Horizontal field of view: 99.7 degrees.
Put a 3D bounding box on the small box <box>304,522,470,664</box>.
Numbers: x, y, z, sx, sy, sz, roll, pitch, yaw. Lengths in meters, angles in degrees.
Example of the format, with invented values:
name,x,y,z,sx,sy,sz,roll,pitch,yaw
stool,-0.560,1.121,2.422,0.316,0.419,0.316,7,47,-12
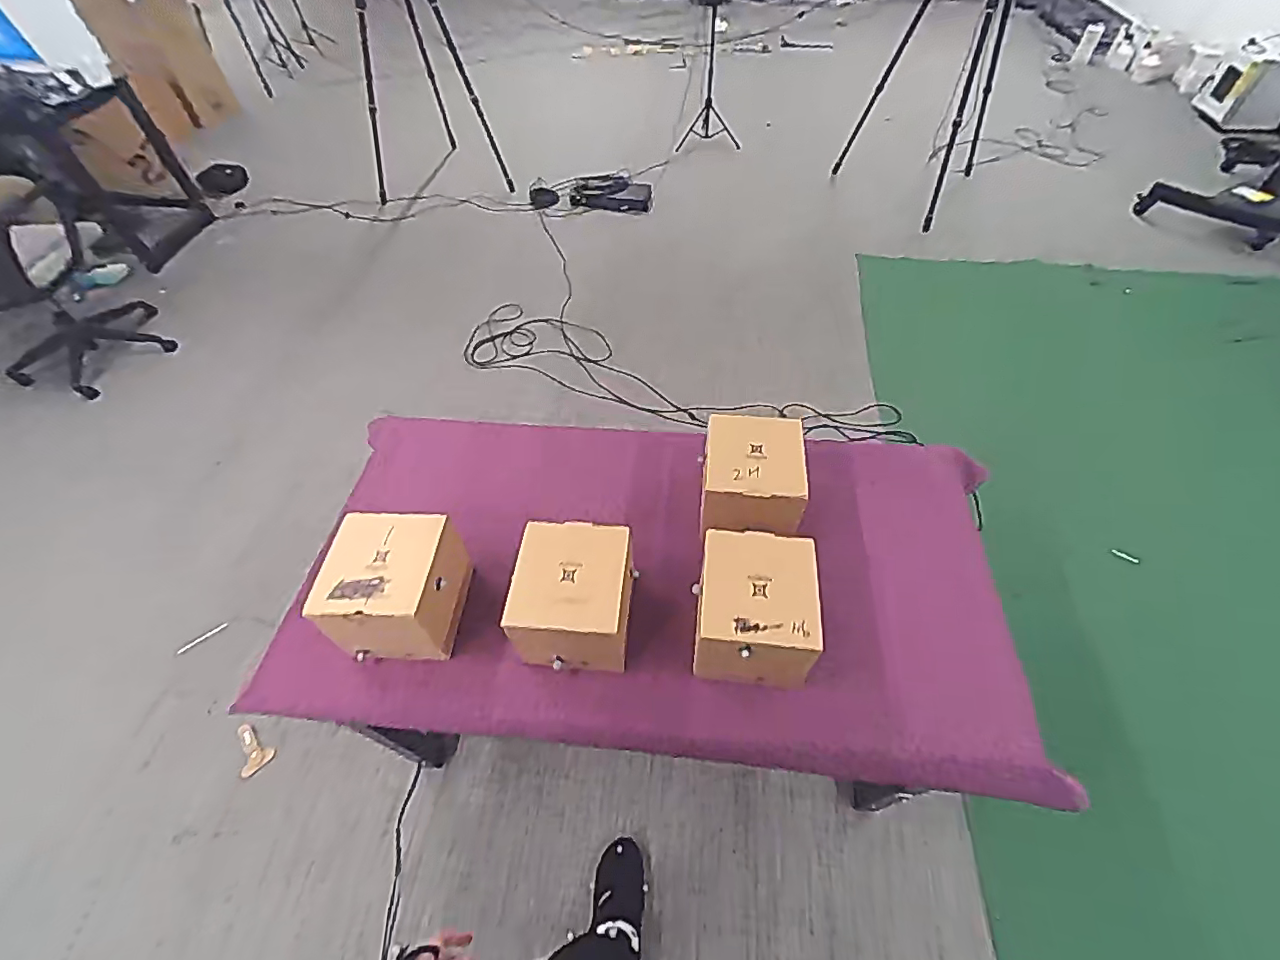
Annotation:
name,x,y,z,sx,sy,sz,roll,pitch,yaw
small box,-0.392,0.186,0.879,0.168,0.176,0.179,1,50,3

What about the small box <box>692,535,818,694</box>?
name,x,y,z,sx,sy,sz,roll,pitch,yaw
small box,0.170,0.209,0.837,0.168,0.176,0.179,4,52,7

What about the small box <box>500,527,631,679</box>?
name,x,y,z,sx,sy,sz,roll,pitch,yaw
small box,-0.106,0.197,0.862,0.168,0.176,0.179,3,53,6

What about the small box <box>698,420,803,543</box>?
name,x,y,z,sx,sy,sz,roll,pitch,yaw
small box,0.195,0.013,0.987,0.168,0.176,0.179,4,53,6
